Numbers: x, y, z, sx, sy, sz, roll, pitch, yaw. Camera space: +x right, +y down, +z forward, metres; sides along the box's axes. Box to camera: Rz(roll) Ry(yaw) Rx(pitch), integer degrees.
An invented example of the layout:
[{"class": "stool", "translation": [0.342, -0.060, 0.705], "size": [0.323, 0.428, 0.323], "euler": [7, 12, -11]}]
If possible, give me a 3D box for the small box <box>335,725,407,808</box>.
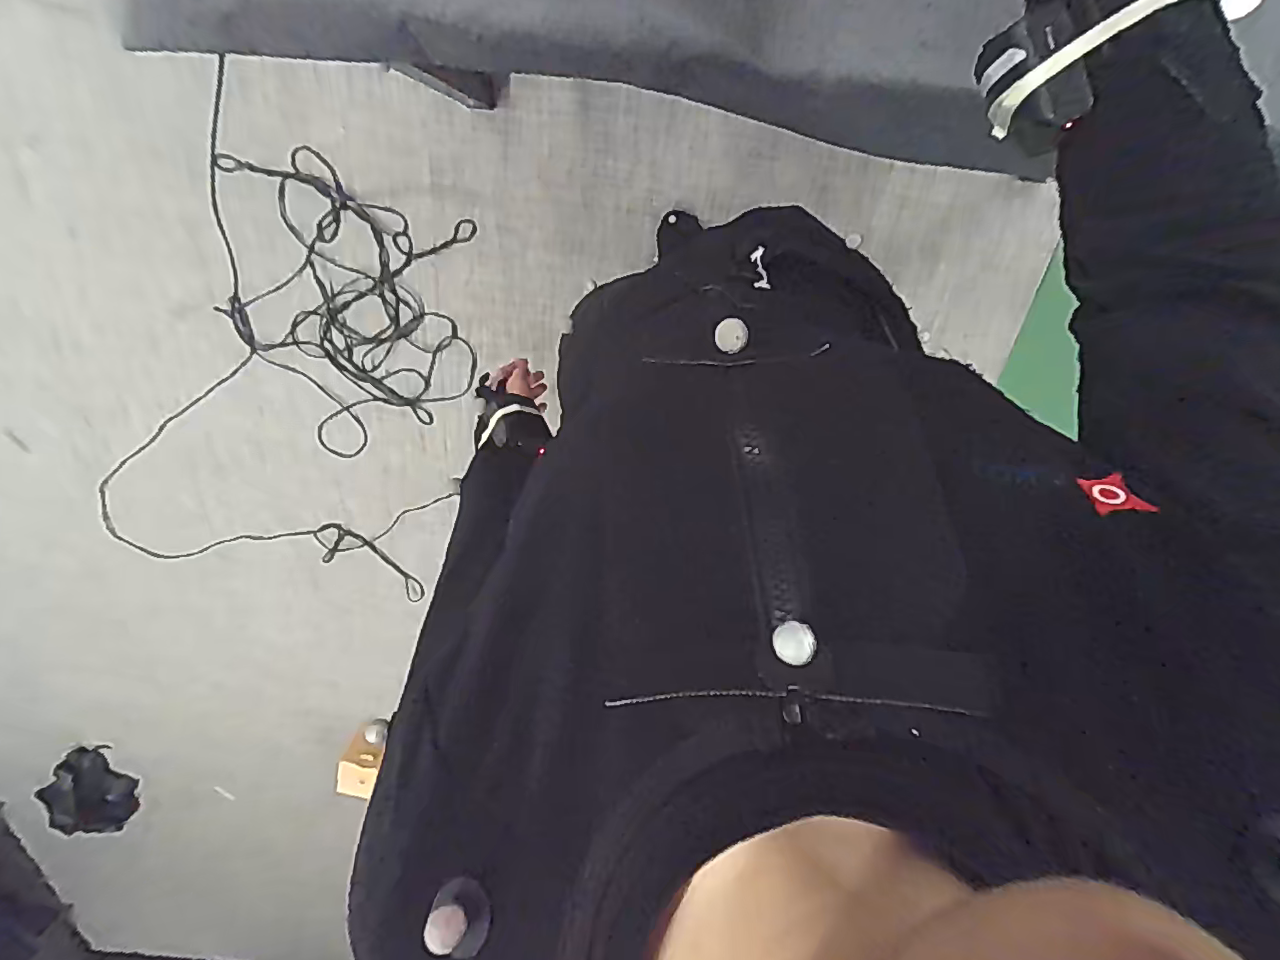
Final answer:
[{"class": "small box", "translation": [-0.927, 0.992, 1.875], "size": [0.168, 0.176, 0.179], "euler": [17, 116, -5]}]
